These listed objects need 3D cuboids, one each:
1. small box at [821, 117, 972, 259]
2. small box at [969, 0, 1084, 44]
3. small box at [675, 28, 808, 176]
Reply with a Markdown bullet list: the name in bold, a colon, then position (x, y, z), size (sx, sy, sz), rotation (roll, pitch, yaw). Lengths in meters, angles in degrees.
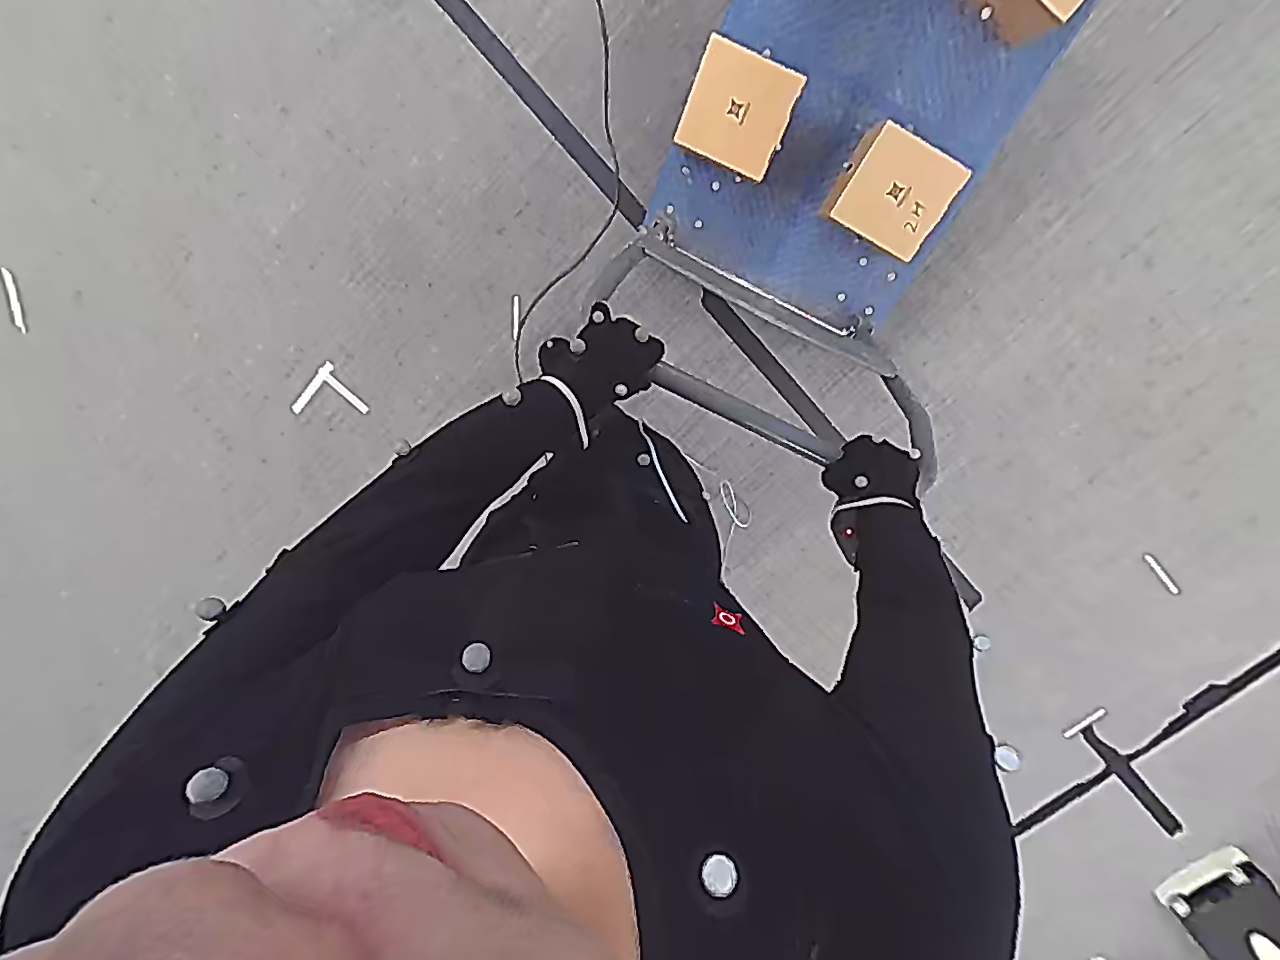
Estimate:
- **small box**: position (0.465, -0.540, 1.015), size (0.179, 0.176, 0.168), rotation (28, 118, -6)
- **small box**: position (0.638, -0.833, 0.835), size (0.168, 0.176, 0.179), rotation (35, 118, -9)
- **small box**: position (0.180, -0.675, 0.993), size (0.179, 0.176, 0.168), rotation (23, 118, -4)
